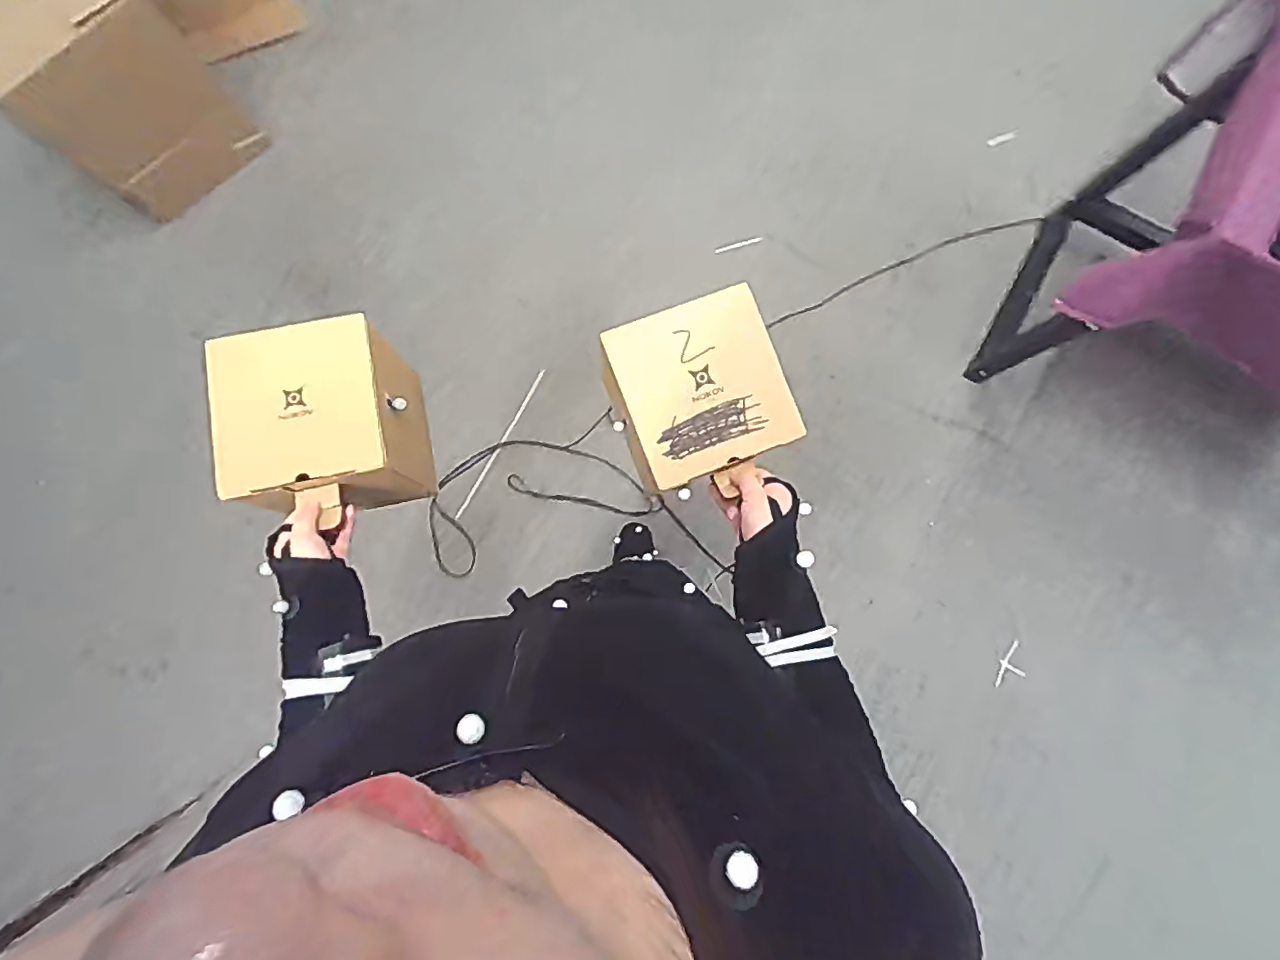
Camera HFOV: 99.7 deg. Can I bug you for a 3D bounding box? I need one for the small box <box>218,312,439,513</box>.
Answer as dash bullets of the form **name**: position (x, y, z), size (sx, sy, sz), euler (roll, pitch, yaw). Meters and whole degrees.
- **small box**: position (-0.351, -0.069, 0.636), size (0.168, 0.176, 0.179), euler (-11, 80, -5)
